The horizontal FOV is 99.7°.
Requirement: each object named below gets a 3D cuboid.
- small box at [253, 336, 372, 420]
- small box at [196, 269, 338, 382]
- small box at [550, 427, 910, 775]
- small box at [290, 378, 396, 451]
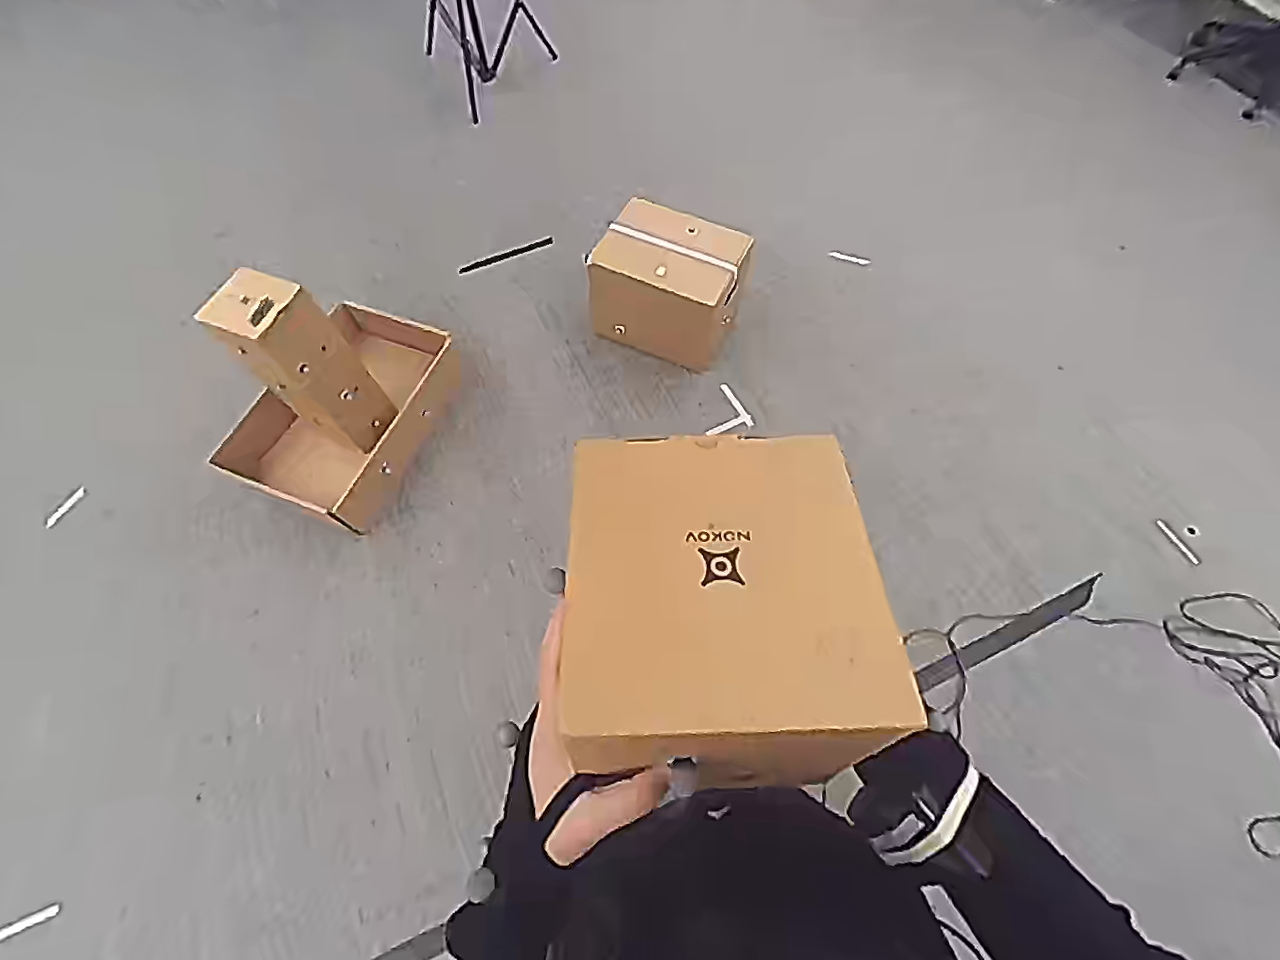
[{"bbox_3d":[-0.846,-0.280,1.406,0.179,0.176,0.168,21,67,9],"label":"small box"},{"bbox_3d":[-0.852,-0.352,1.258,0.179,0.176,0.168,19,66,11],"label":"small box"},{"bbox_3d":[0.041,0.086,0.354,0.168,0.176,0.179,-1,52,-1],"label":"small box"},{"bbox_3d":[-0.844,-0.208,1.551,0.179,0.176,0.168,22,67,10],"label":"small box"}]
